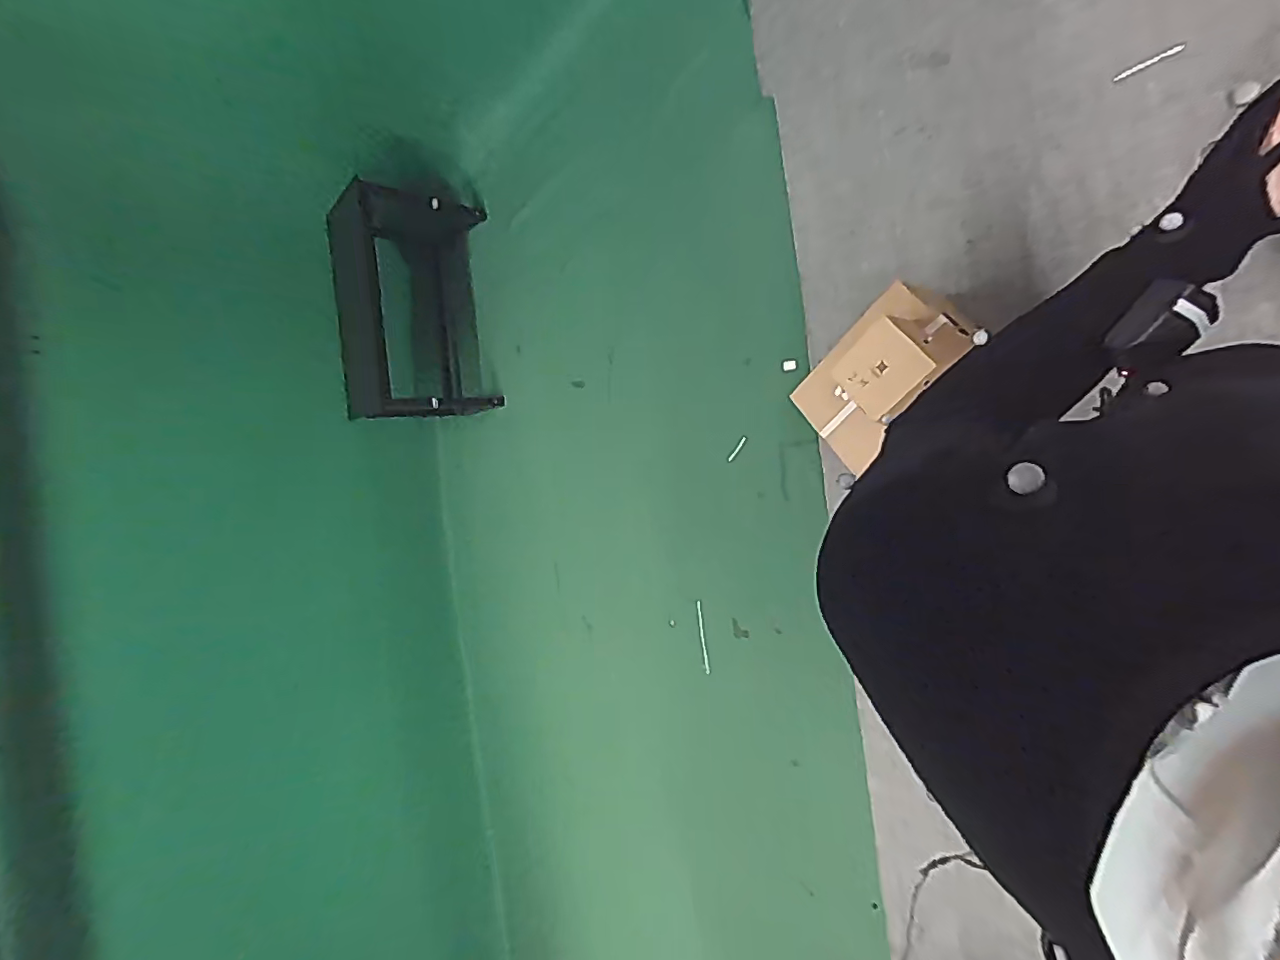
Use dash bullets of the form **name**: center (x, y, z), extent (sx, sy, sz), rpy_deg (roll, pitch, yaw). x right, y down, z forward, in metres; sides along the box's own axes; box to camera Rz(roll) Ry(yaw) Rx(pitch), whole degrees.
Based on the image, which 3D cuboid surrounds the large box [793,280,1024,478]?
- **large box**: center (0.711, -0.262, 1.460), extent (0.320, 0.320, 0.408), rpy_deg (59, 133, 25)

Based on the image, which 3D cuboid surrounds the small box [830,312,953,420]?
- **small box**: center (0.580, -0.257, 1.235), extent (0.168, 0.176, 0.179), rpy_deg (57, 132, 24)
